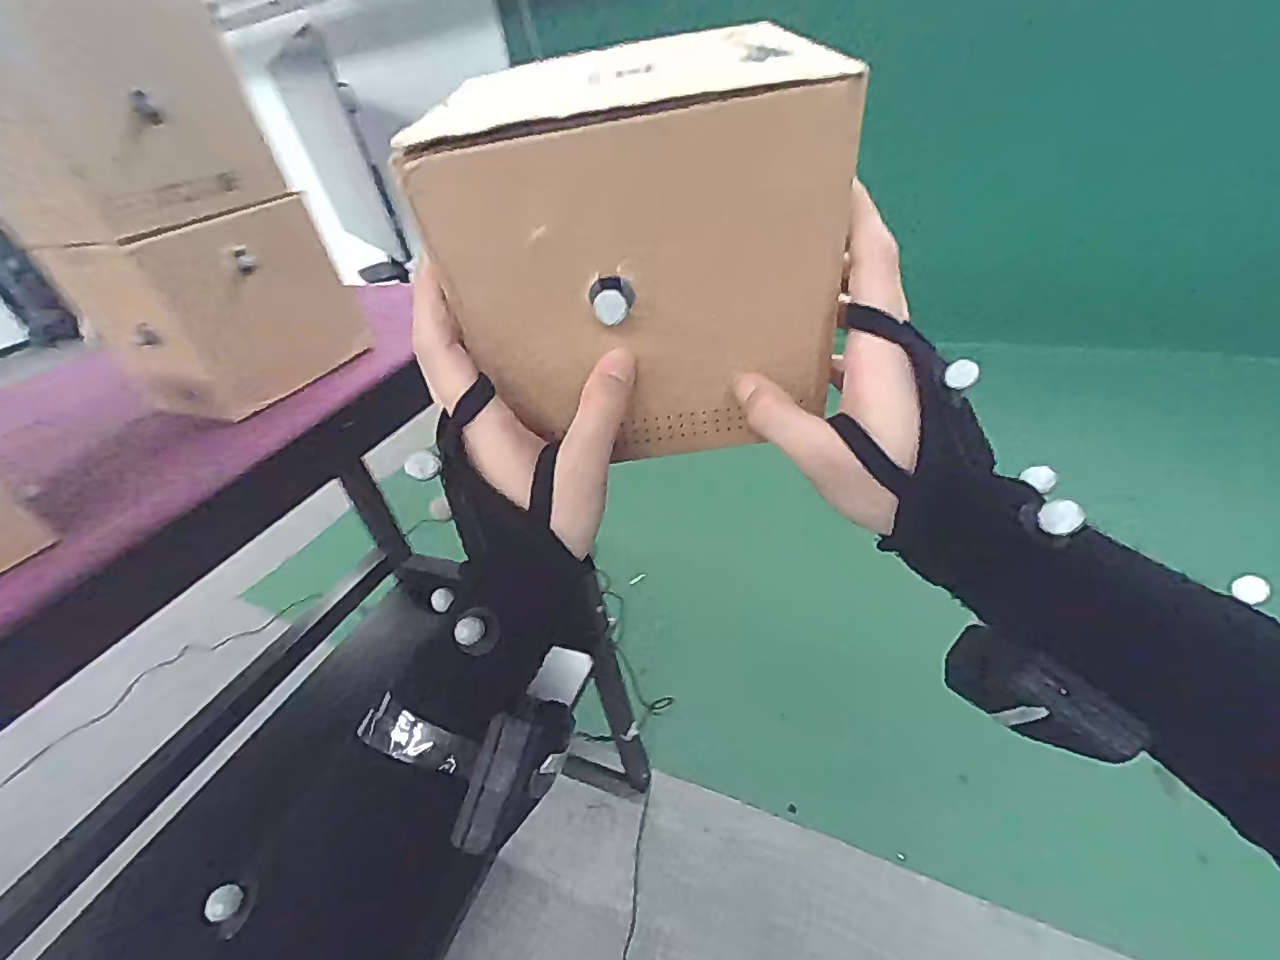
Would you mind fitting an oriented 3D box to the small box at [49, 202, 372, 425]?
[{"bbox_3d":[-0.429,-0.174,0.570,0.168,0.176,0.179,10,41,26],"label":"small box"}]

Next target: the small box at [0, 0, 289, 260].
[{"bbox_3d":[-0.463,-0.304,0.475,0.179,0.176,0.168,10,41,26],"label":"small box"}]

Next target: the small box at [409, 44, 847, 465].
[{"bbox_3d":[0.004,-0.125,0.317,0.179,0.176,0.168,-8,44,5],"label":"small box"}]
